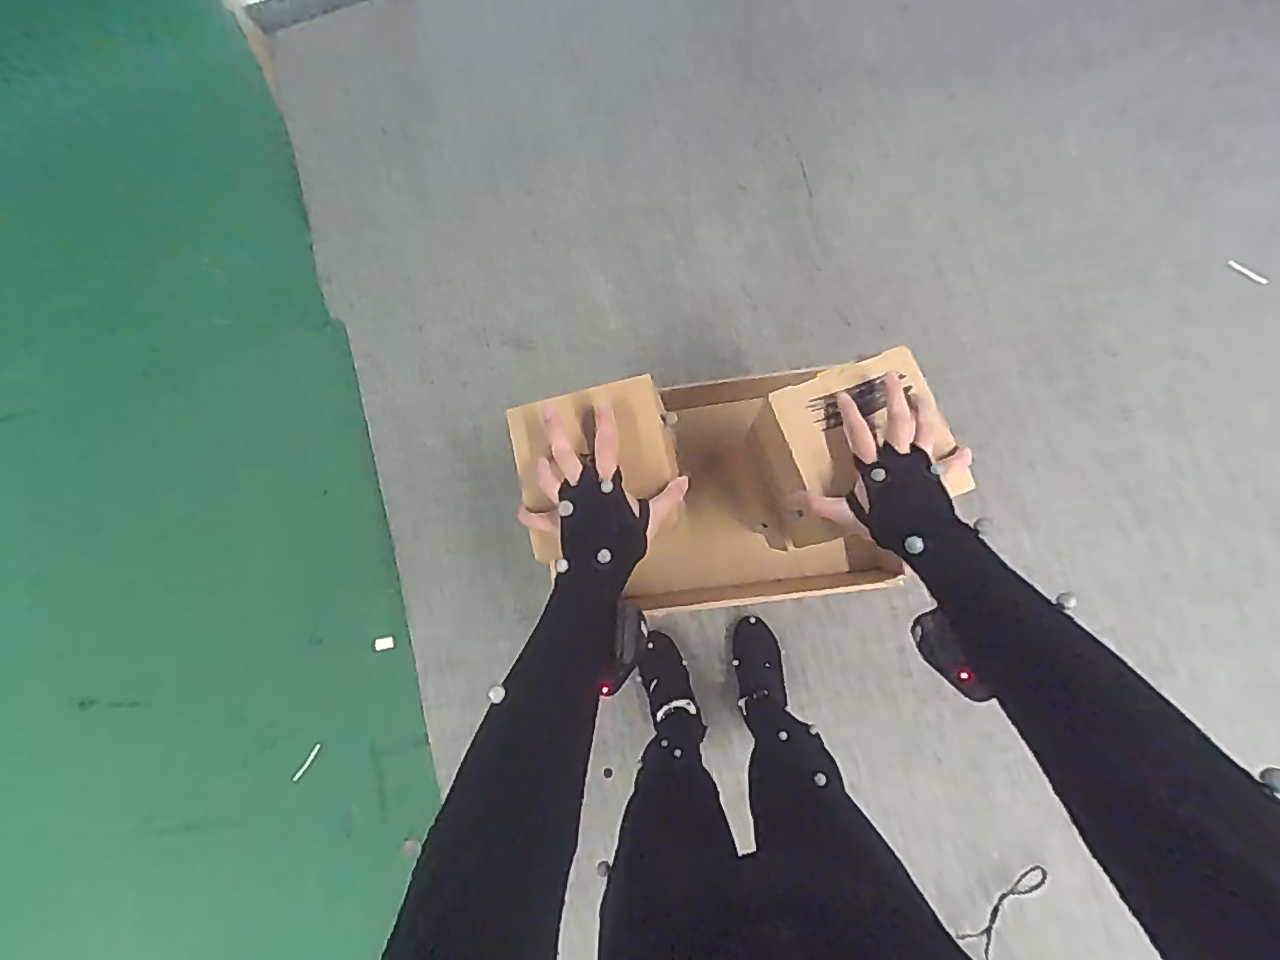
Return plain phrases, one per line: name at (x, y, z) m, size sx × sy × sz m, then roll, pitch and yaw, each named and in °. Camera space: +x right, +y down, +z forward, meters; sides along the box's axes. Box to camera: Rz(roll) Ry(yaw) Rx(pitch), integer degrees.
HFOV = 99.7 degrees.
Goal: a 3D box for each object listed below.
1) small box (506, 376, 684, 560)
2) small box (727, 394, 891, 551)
small box at (-0.045, -0.006, 0.662) m, size 0.168 × 0.176 × 0.179 m, roll -13°, pitch 84°, yaw 7°
small box at (0.246, -0.005, 0.832) m, size 0.168 × 0.176 × 0.179 m, roll -26°, pitch 82°, yaw 2°
